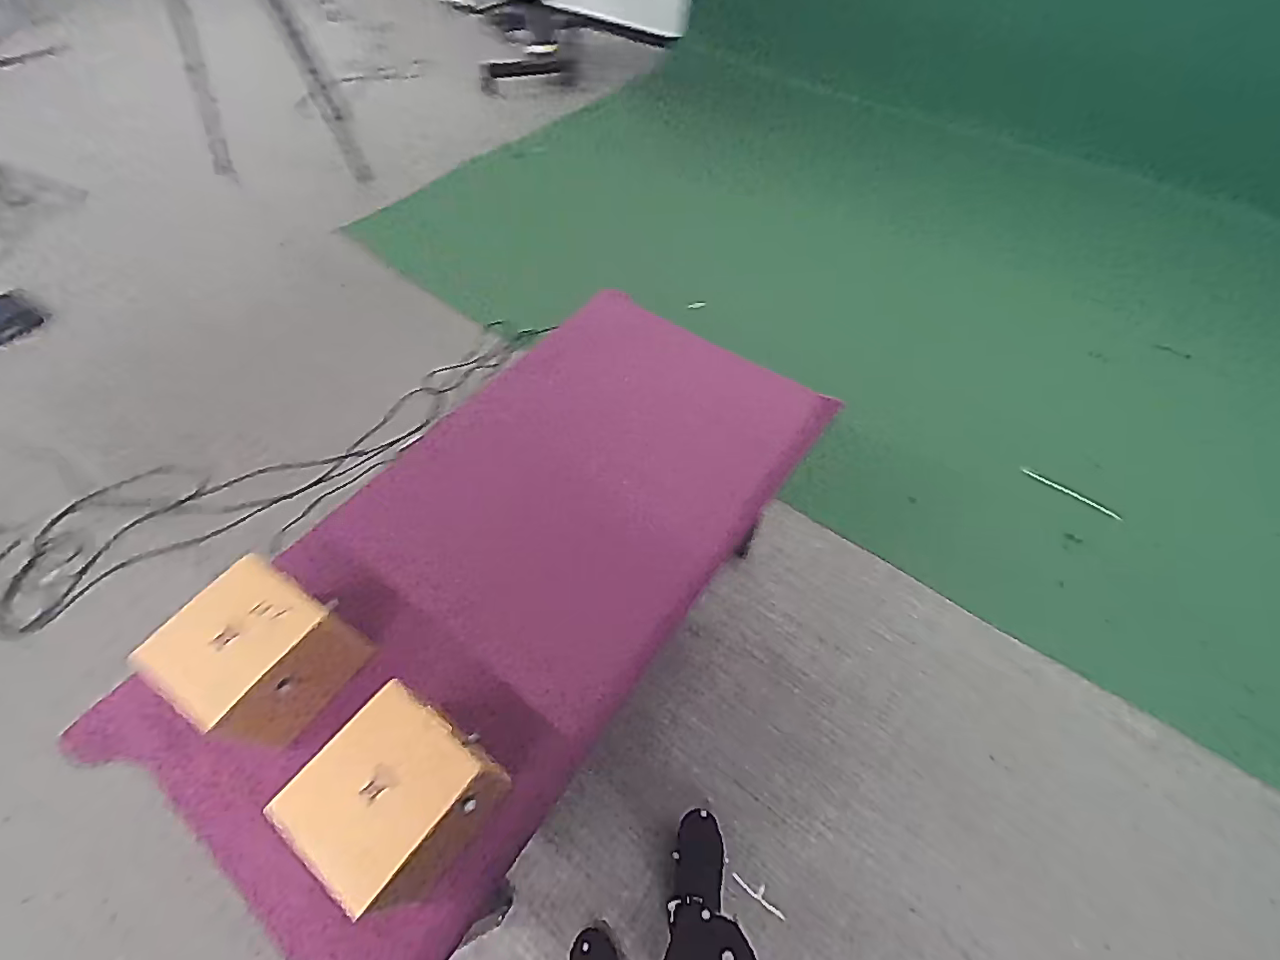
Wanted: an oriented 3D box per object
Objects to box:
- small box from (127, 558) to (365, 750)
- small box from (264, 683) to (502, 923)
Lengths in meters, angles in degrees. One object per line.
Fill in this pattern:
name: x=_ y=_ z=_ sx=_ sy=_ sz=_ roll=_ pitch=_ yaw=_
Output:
small box: x=-0.531 y=0.249 z=0.758 sx=0.168 sy=0.176 sz=0.179 roll=29 pitch=60 yaw=17
small box: x=-0.295 y=0.391 z=0.663 sx=0.168 sy=0.176 sz=0.179 roll=30 pitch=59 yaw=21
